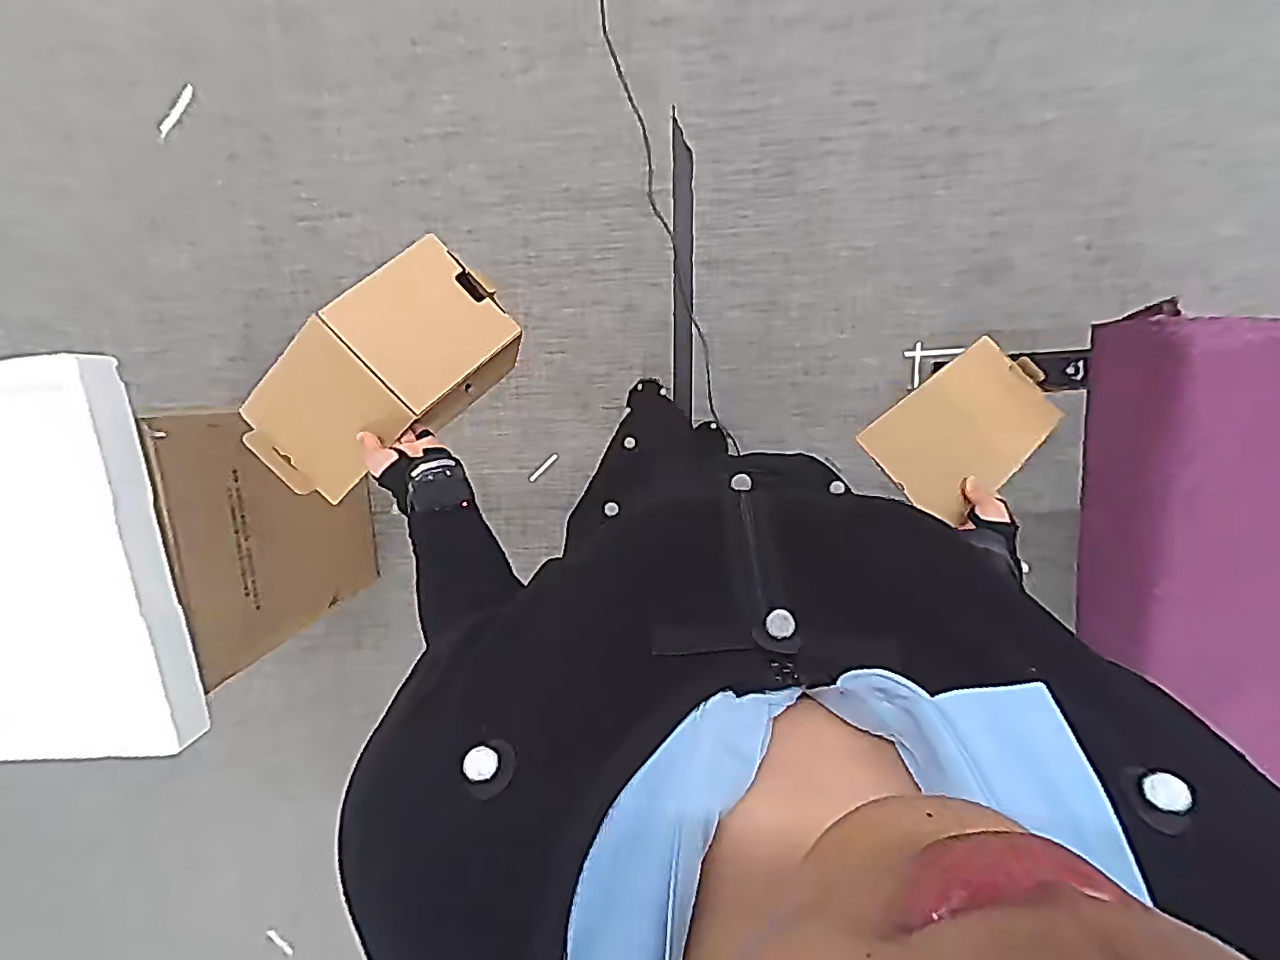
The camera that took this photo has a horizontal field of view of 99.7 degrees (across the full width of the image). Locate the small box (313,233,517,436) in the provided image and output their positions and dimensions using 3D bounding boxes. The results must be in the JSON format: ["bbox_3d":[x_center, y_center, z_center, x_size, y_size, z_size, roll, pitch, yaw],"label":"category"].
[{"bbox_3d":[-0.287,-0.181,0.728,0.179,0.176,0.168,-45,98,-17],"label":"small box"}]
